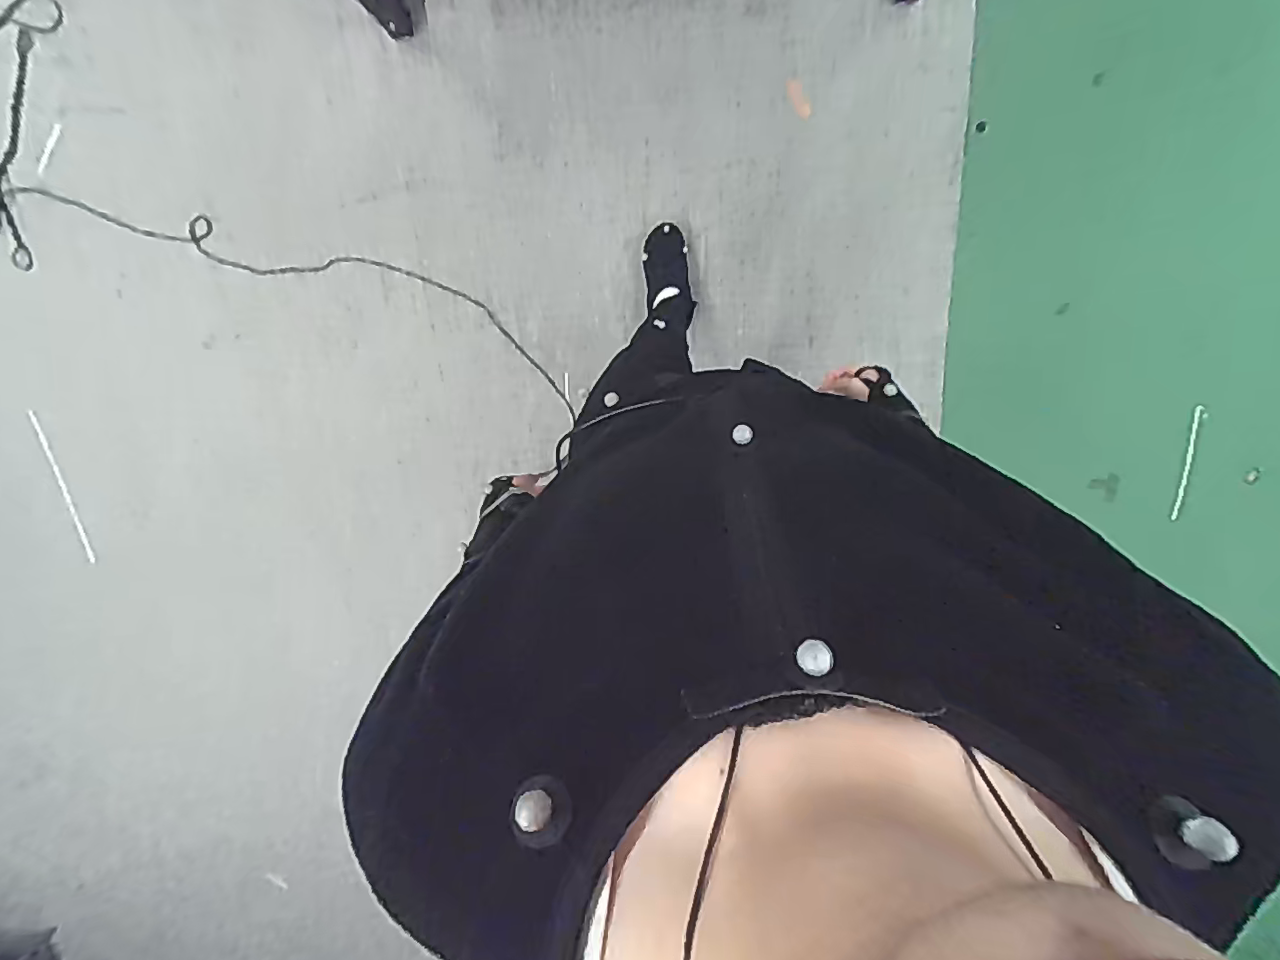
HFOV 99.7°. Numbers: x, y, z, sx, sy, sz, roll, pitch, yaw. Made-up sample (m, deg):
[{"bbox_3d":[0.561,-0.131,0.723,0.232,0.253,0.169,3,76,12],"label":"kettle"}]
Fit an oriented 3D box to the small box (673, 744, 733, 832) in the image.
[{"bbox_3d":[0.190,0.945,1.672,0.168,0.176,0.179,2,106,2],"label":"small box"}]
